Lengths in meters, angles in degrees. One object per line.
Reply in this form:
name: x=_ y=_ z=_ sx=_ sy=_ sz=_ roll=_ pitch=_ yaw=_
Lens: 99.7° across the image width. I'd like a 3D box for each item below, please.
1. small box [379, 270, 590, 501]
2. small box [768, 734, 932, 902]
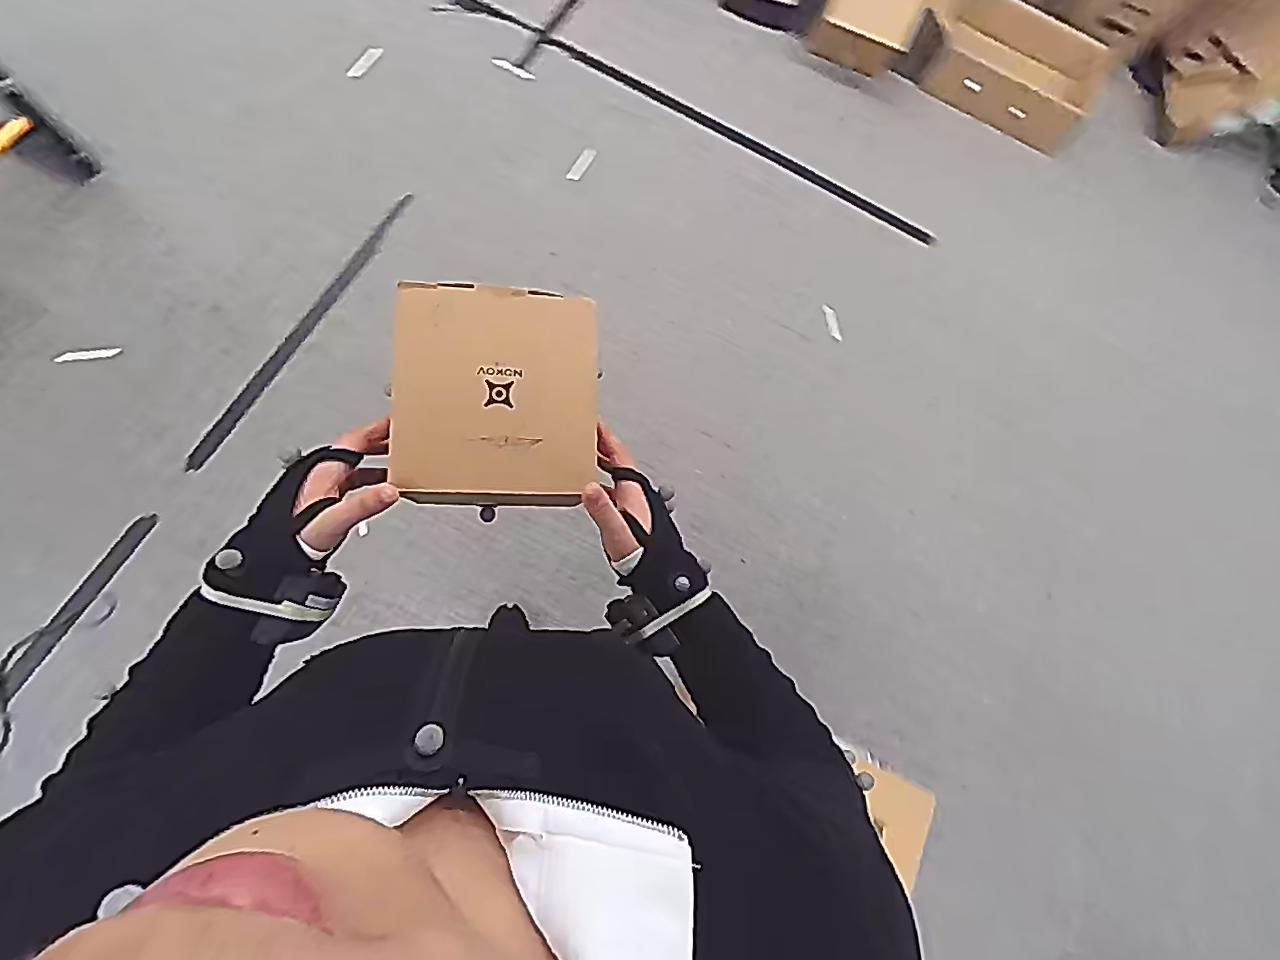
small box: x=-0.142 y=-0.074 z=0.522 sx=0.168 sy=0.176 sz=0.179 roll=1 pitch=84 yaw=-13
small box: x=0.347 y=0.555 z=0.918 sx=0.179 sy=0.176 sz=0.168 roll=28 pitch=71 yaw=2
